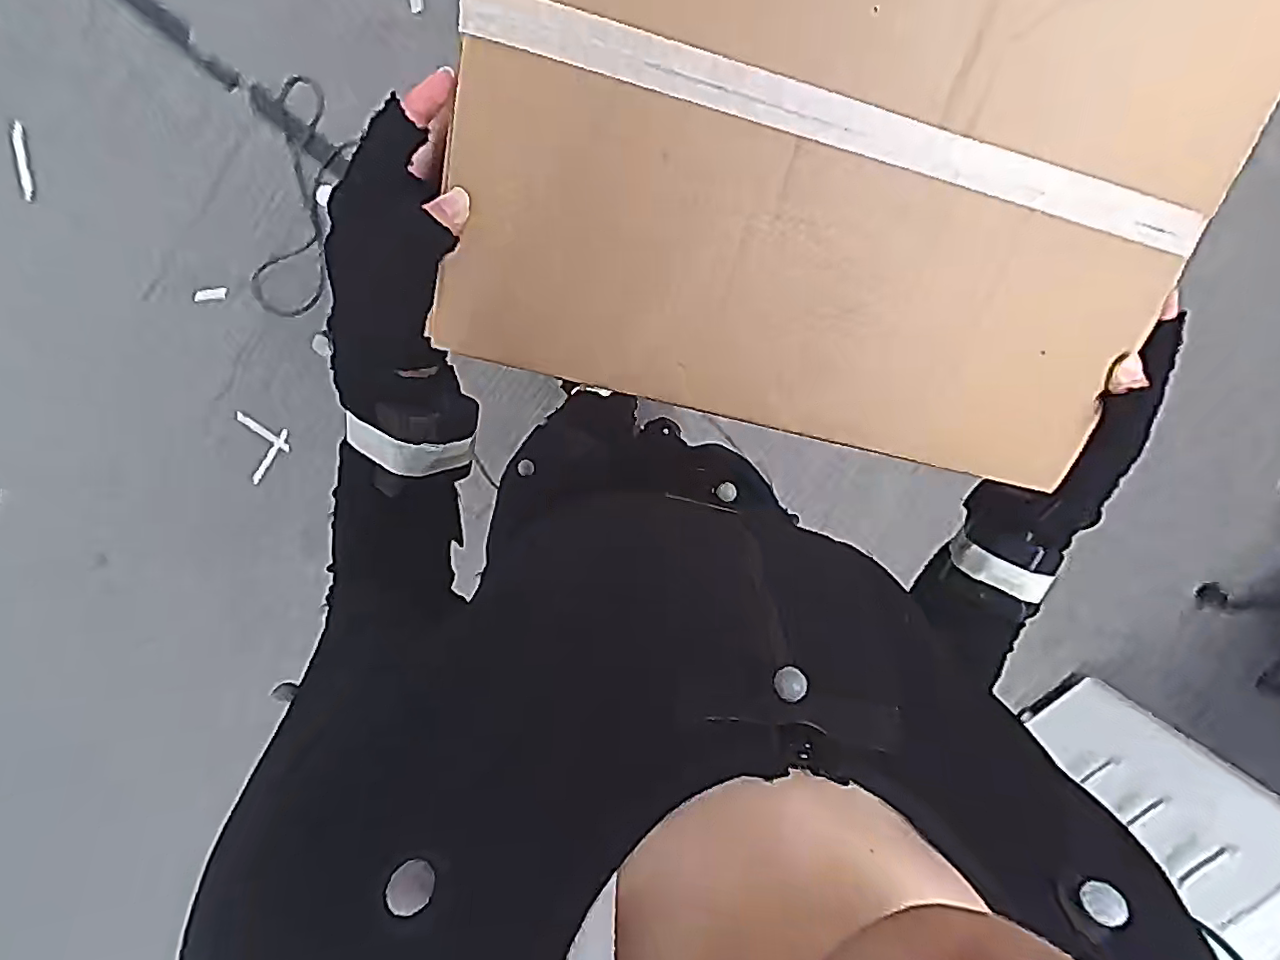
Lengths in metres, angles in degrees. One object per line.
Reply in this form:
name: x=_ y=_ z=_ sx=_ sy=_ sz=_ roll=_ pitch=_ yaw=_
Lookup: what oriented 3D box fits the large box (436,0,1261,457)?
large box: x=0.092 y=-0.239 z=0.426 sx=0.408 sy=0.320 sz=0.320 roll=10 pitch=111 yaw=-8
